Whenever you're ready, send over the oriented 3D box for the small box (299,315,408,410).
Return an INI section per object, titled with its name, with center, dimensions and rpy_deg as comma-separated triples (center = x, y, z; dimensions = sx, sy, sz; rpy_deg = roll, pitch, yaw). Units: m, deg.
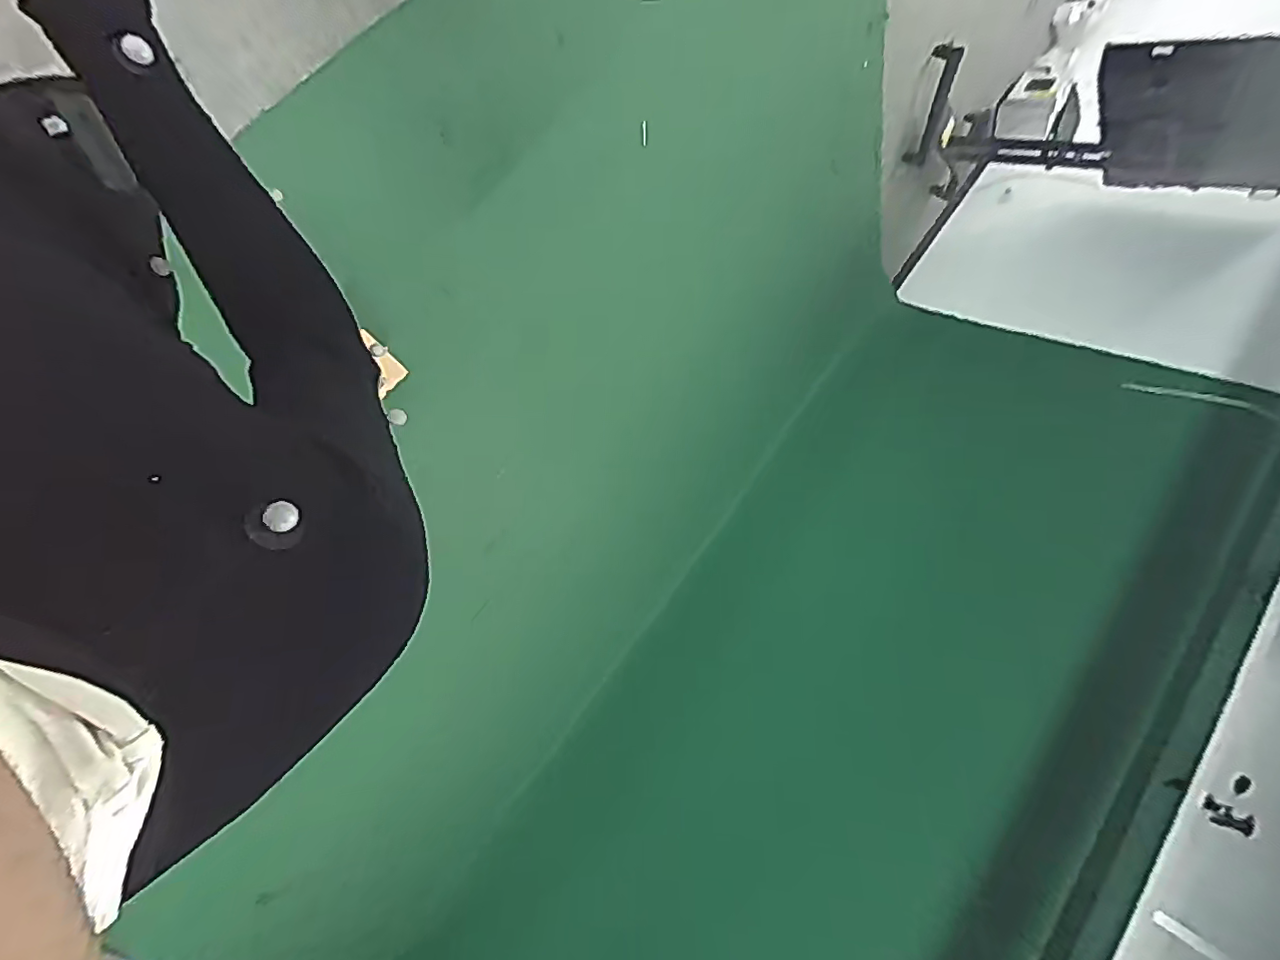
[small box]
center = -0.790, -0.329, 1.493
dimensions = 0.168, 0.176, 0.179
rpy_deg = -52, 144, -12
